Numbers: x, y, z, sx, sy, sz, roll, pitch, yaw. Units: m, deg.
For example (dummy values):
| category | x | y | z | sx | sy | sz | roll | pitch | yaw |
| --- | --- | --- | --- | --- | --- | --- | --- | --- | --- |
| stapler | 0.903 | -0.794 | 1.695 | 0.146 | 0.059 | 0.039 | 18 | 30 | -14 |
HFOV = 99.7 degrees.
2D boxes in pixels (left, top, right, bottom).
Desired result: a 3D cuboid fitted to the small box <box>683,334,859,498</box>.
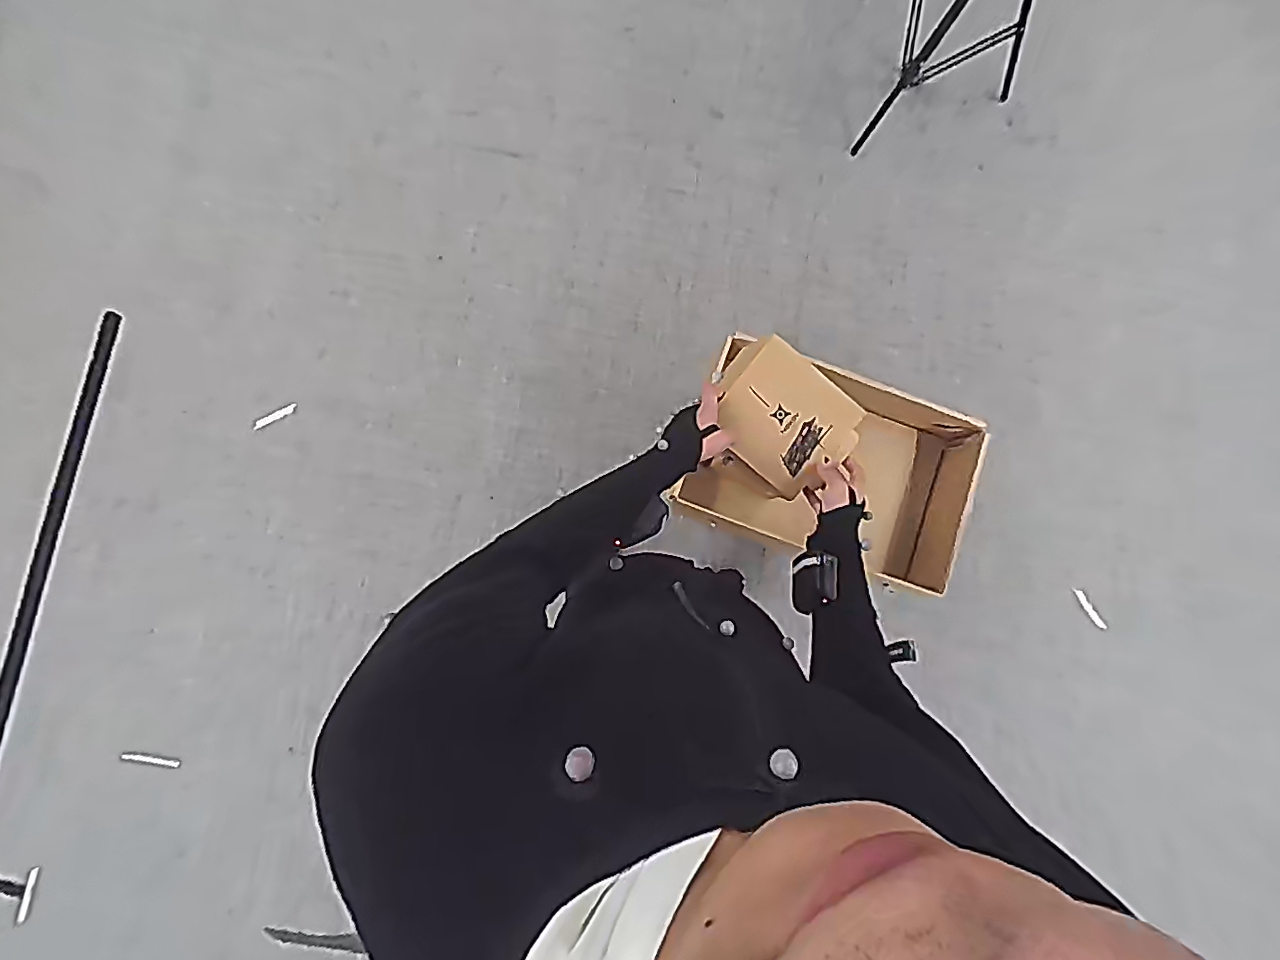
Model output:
| category | x | y | z | sx | sy | sz | roll | pitch | yaw |
| --- | --- | --- | --- | --- | --- | --- | --- | --- | --- |
| small box | 0.189 | -0.098 | 0.835 | 0.179 | 0.176 | 0.168 | 39 | 92 | -7 |
